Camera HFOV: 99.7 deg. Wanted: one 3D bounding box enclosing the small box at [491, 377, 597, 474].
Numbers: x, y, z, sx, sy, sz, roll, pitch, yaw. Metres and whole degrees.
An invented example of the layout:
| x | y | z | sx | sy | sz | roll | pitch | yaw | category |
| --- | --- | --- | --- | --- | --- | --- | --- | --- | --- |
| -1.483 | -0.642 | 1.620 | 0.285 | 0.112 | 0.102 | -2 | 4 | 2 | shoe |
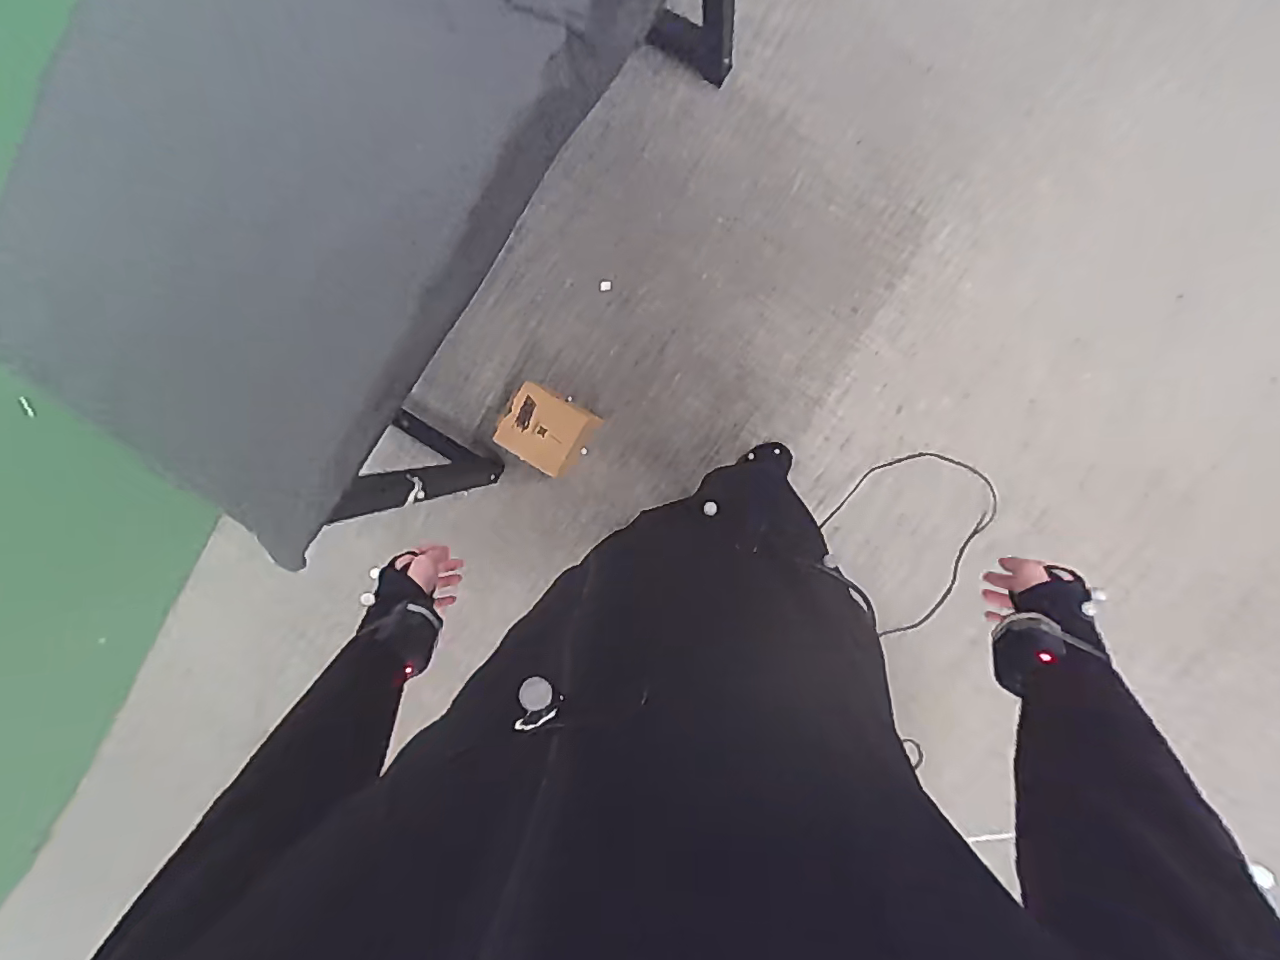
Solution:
| x | y | z | sx | sy | sz | roll | pitch | yaw | category |
| --- | --- | --- | --- | --- | --- | --- | --- | --- | --- |
| -0.227 | -0.132 | 1.328 | 0.179 | 0.176 | 0.168 | 31 | 99 | 2 | small box |
